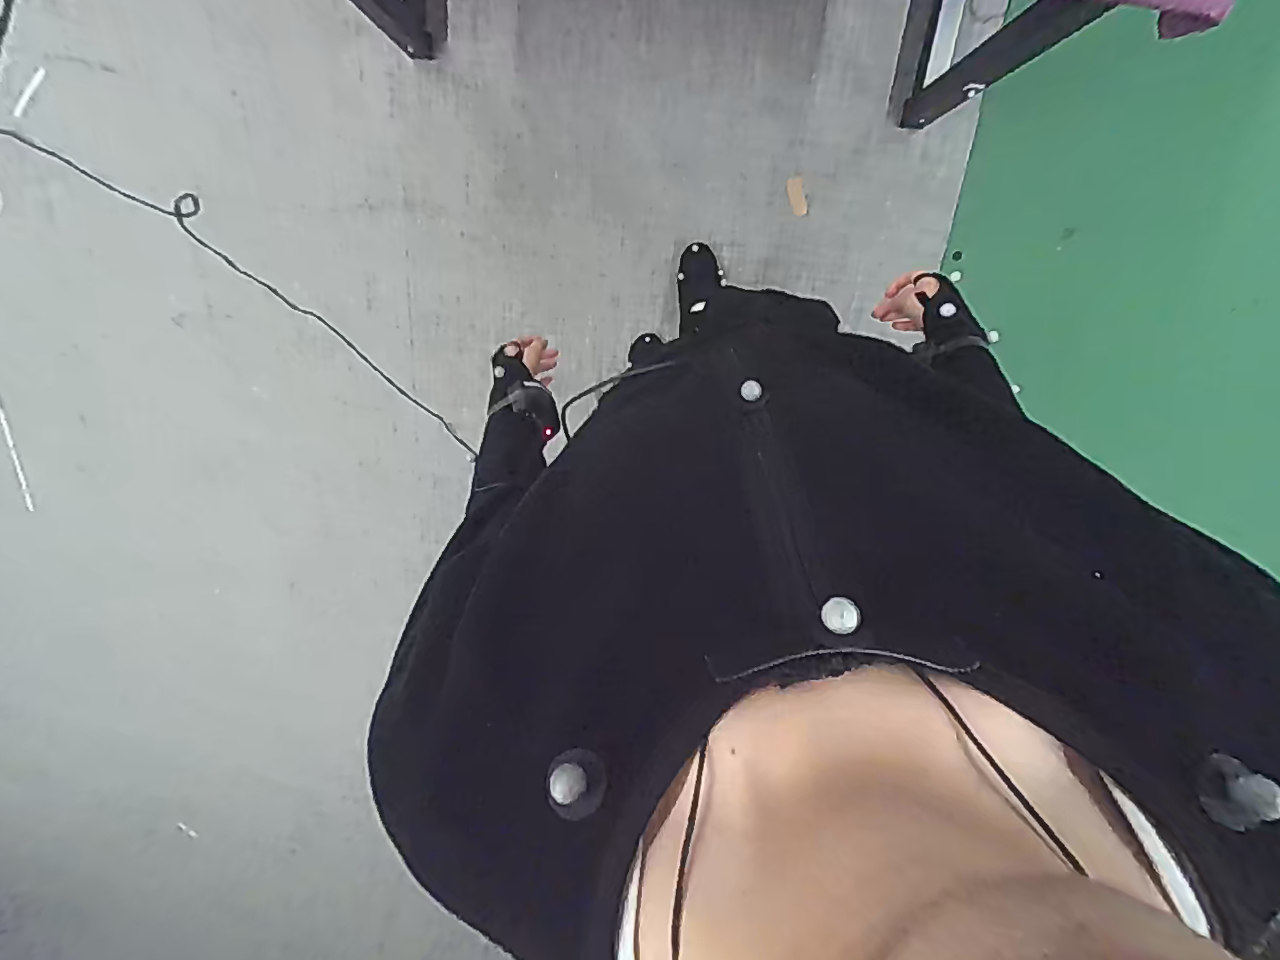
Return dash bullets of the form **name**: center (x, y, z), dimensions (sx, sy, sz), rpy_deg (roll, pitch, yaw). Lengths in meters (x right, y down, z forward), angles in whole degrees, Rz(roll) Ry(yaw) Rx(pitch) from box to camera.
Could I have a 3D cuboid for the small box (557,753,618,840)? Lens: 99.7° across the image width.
- **small box**: center (-0.170, 1.042, 1.790), dimensions (0.168, 0.176, 0.179), rpy_deg (11, 109, -1)
